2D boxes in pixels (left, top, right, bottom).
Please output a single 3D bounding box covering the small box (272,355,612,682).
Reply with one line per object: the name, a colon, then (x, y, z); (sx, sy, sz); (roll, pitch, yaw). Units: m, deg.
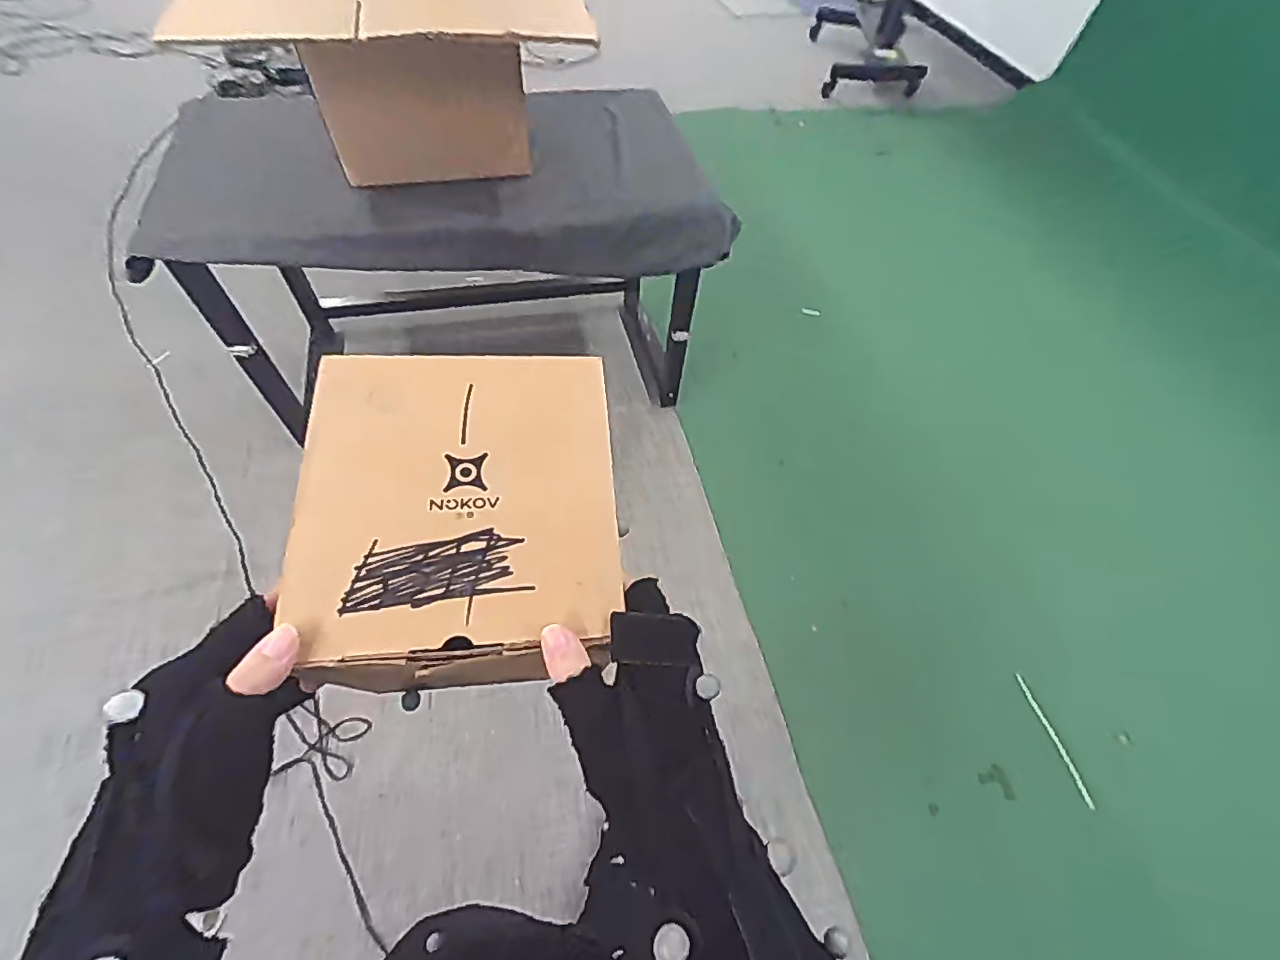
small box: (-0.110, 0.037, 0.369); (0.168, 0.176, 0.179); (-3, 64, -9)
